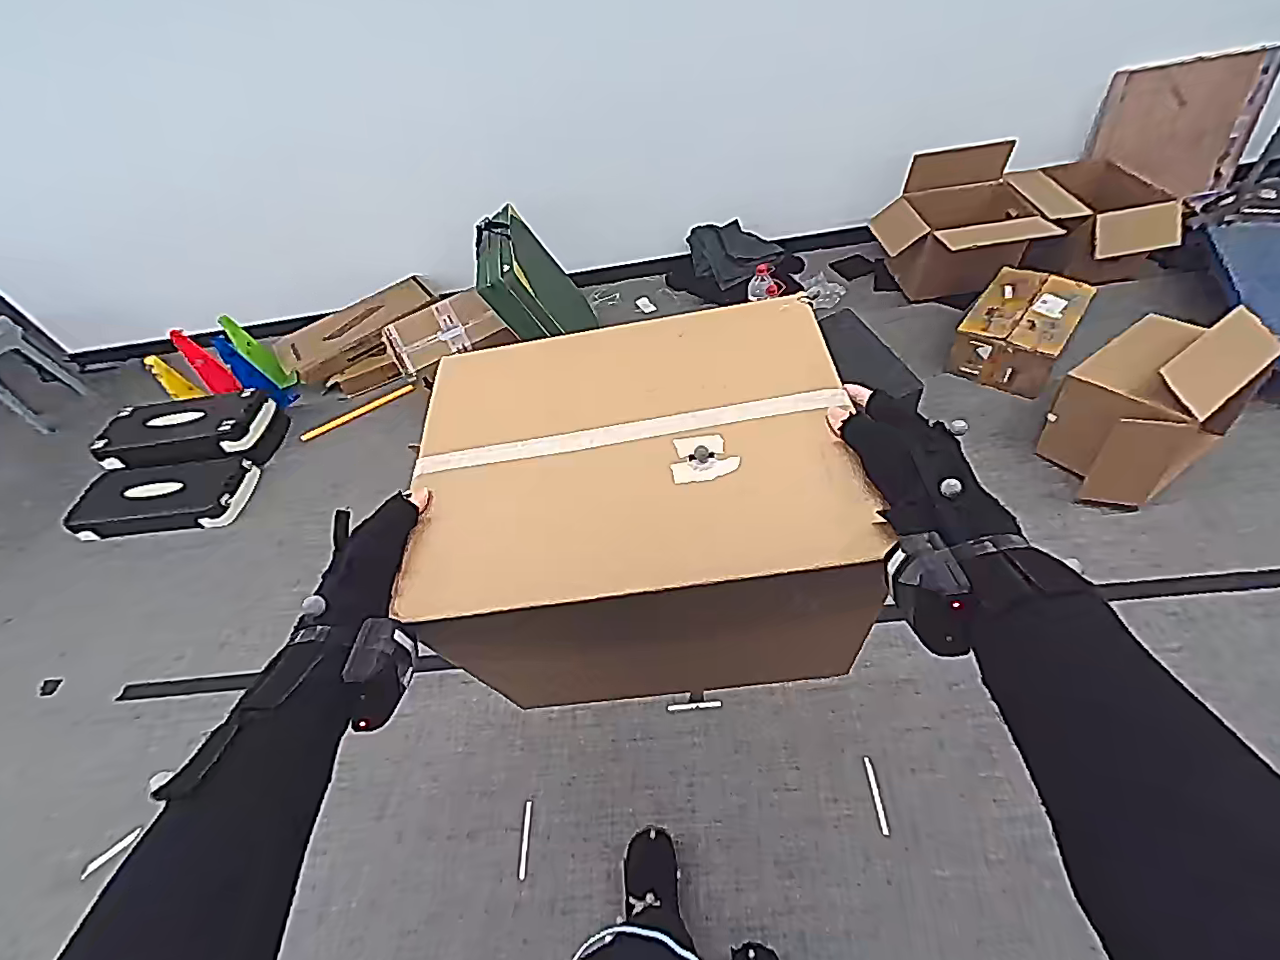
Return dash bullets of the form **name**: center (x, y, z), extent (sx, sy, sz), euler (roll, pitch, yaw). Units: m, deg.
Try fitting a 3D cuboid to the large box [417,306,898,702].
- **large box**: center (0.017, 0.046, 0.639), extent (0.408, 0.320, 0.320), euler (-8, 55, 5)
